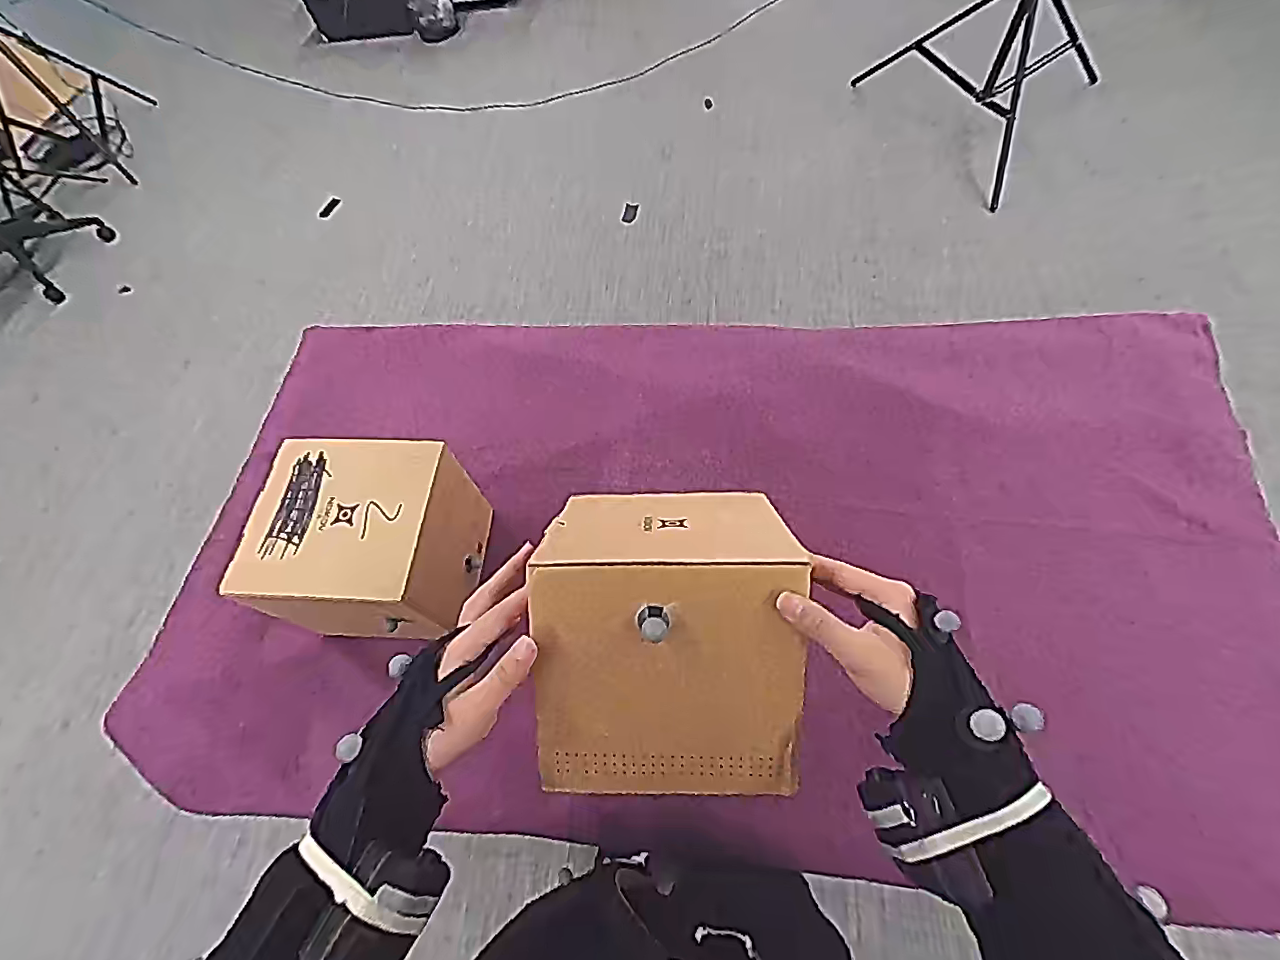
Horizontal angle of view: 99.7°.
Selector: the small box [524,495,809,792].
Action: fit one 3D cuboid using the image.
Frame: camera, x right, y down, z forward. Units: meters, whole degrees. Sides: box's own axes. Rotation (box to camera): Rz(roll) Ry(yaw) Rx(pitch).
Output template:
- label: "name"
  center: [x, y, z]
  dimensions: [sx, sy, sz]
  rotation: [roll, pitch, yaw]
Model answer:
- label: "small box"
  center: [0.020, 0.112, 0.419]
  dimensions: [0.179, 0.168, 0.176]
  rotation: [-1, 100, 2]
